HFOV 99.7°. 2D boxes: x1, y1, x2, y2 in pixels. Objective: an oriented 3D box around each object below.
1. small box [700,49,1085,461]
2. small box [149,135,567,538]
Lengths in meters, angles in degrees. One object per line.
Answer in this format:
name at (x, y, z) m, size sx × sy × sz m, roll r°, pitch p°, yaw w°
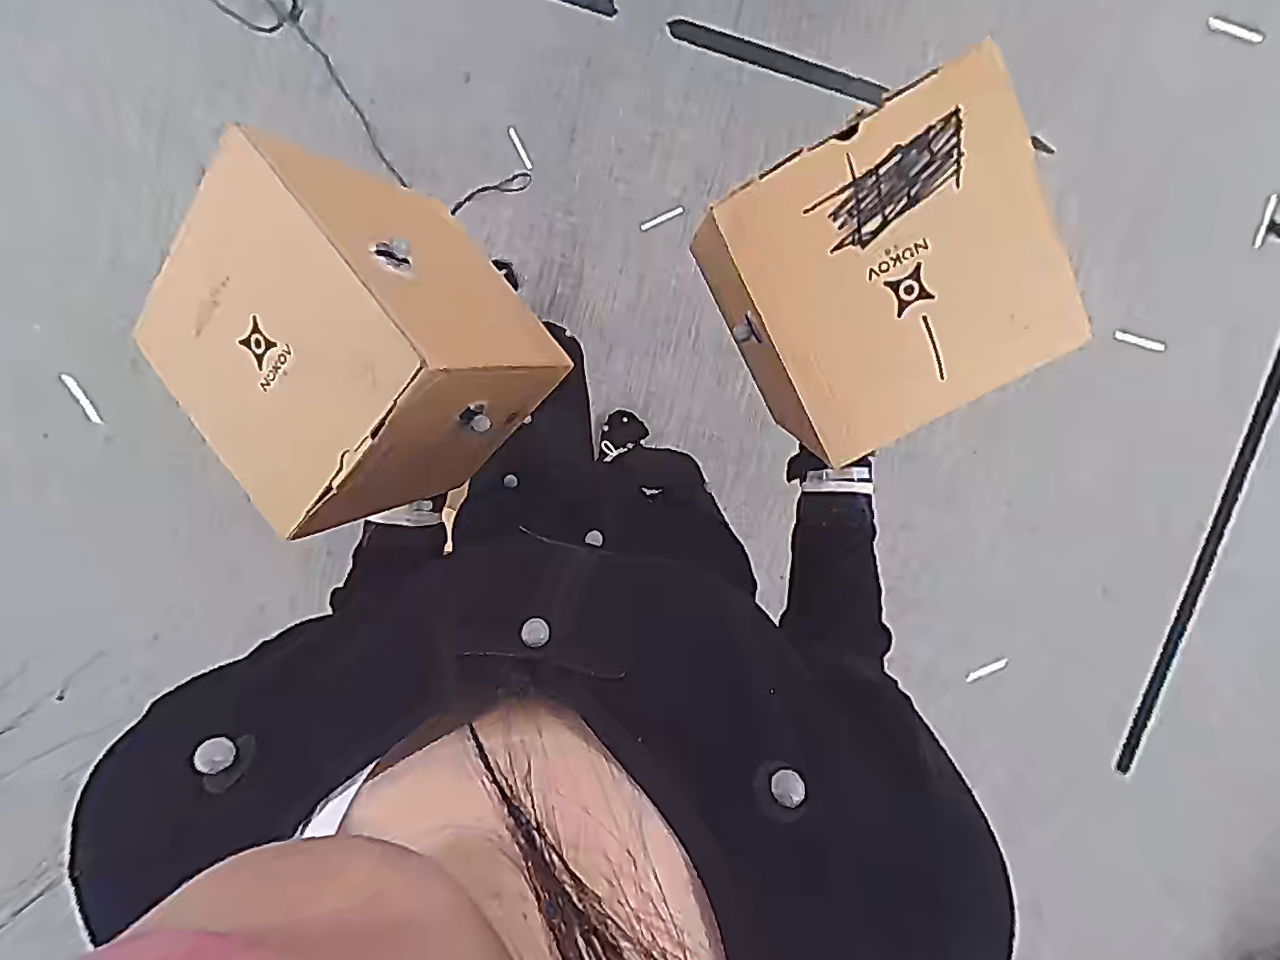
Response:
small box at (0.155, -0.141, 0.391) m, size 0.168 × 0.176 × 0.179 m, roll -28°, pitch 104°, yaw 9°
small box at (-0.185, -0.092, 0.391) m, size 0.168 × 0.176 × 0.179 m, roll -42°, pitch 85°, yaw 22°
